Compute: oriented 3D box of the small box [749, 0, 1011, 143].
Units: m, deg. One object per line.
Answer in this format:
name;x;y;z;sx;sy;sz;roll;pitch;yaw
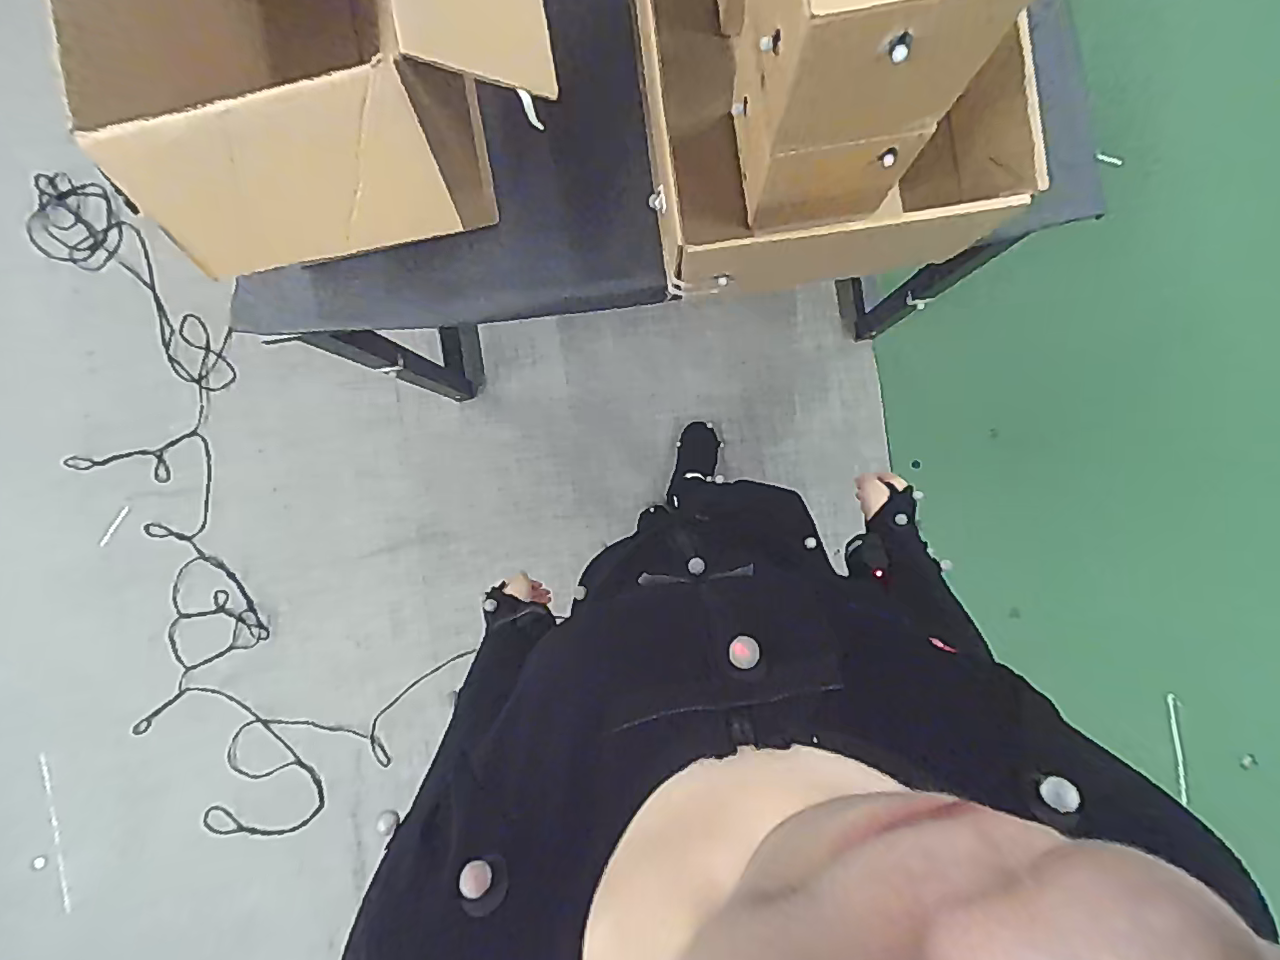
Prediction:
small box;0.199;-0.435;0.481;0.179;0.176;0.168;-8;91;2
